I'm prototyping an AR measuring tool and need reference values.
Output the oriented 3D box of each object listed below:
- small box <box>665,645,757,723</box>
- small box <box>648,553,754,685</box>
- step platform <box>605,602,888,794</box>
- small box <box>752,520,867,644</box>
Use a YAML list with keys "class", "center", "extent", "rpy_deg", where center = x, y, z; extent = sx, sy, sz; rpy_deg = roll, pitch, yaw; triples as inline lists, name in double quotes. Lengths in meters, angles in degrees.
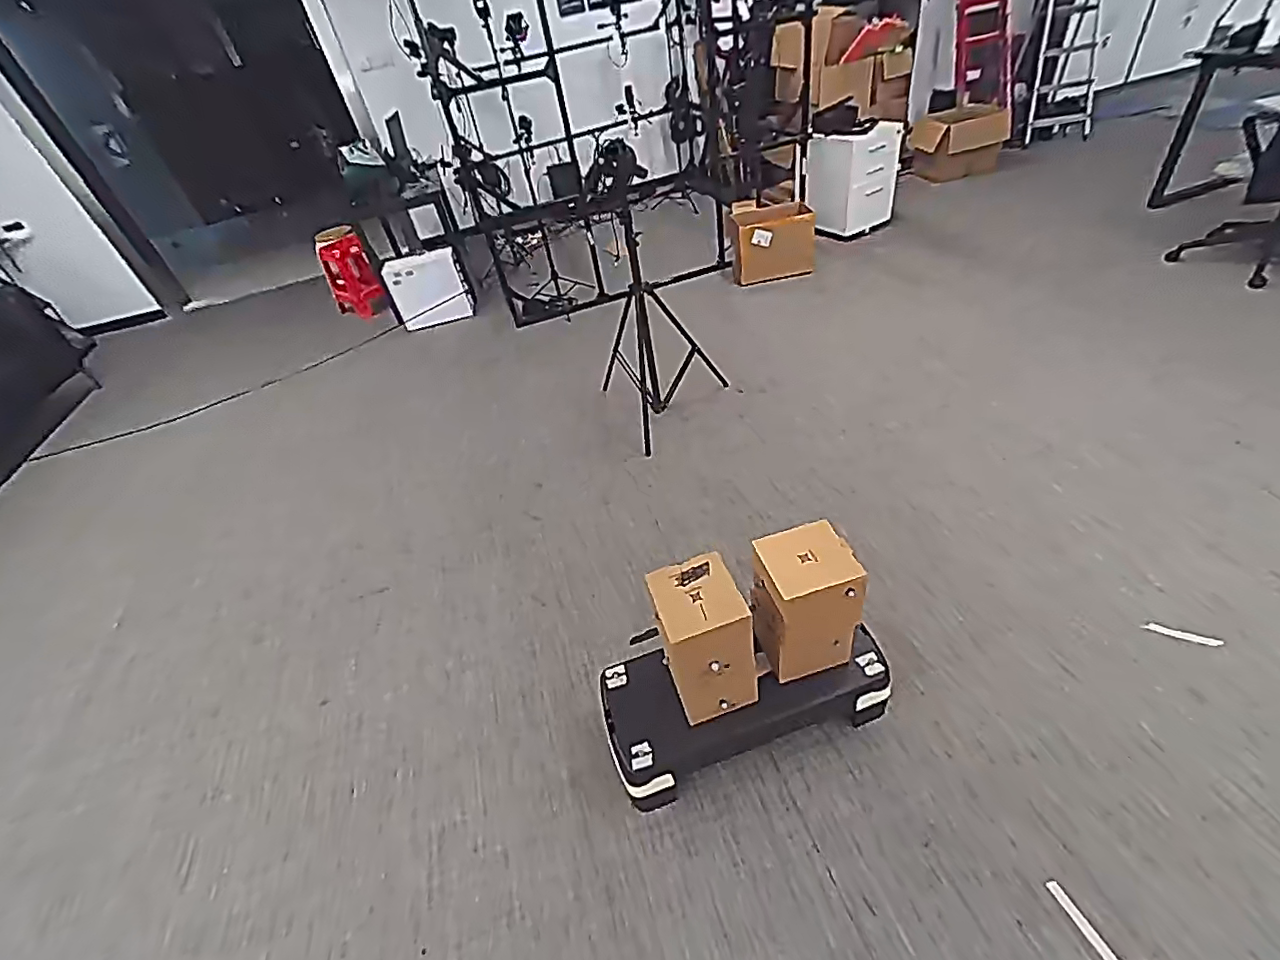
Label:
- class: "small box"
  center: [0.155, 0.410, 1.222]
  extent: [0.168, 0.176, 0.179]
  rpy_deg: [-18, 41, -5]
- class: "small box"
  center: [0.125, 0.287, 1.118]
  extent: [0.168, 0.176, 0.179]
  rpy_deg: [-18, 41, -6]
- class: "step platform"
  center: [0.257, 0.503, 1.358]
  extent: [0.684, 0.204, 0.286]
  rpy_deg: [-19, 41, -7]
- class: "small box"
  center: [0.352, 0.218, 1.142]
  extent: [0.179, 0.176, 0.168]
  rpy_deg: [-16, 41, -5]
